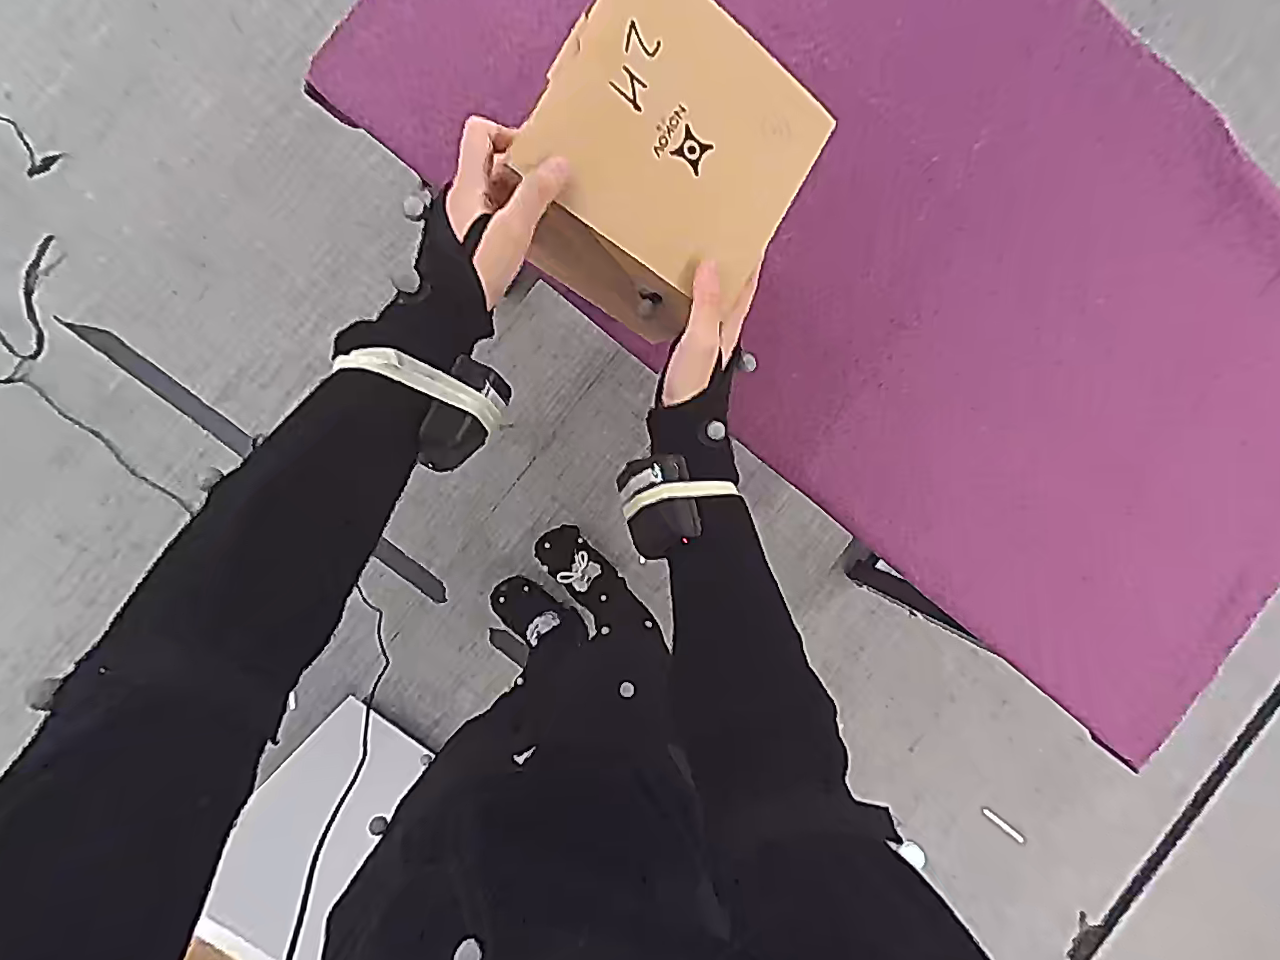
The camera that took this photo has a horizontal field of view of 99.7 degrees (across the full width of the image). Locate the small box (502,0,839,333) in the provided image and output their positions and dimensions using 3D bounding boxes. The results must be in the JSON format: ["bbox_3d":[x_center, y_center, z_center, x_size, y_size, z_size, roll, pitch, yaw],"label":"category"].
[{"bbox_3d":[0.008,-0.232,0.426,0.179,0.176,0.168,30,89,-18],"label":"small box"}]
